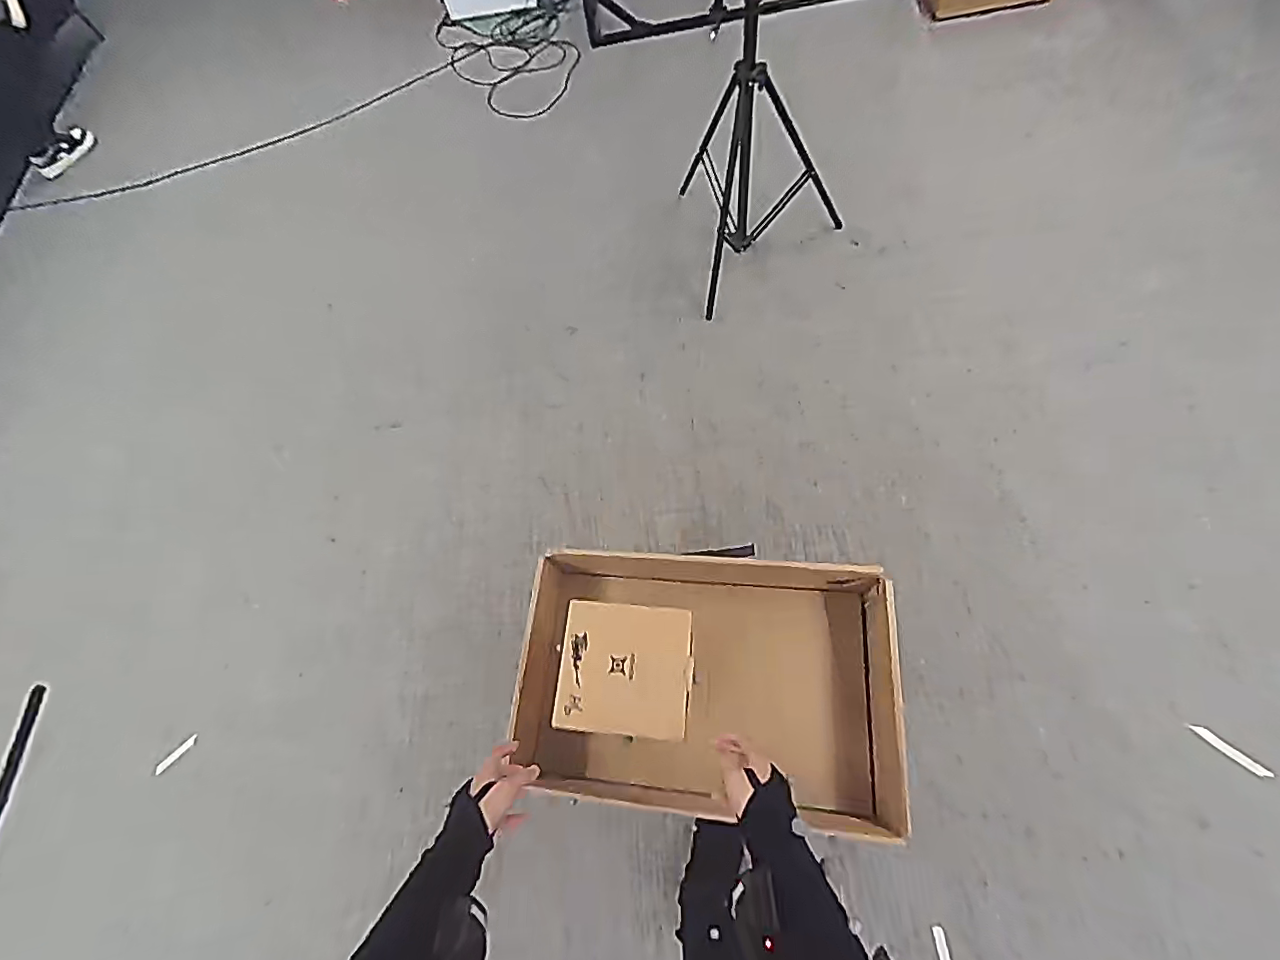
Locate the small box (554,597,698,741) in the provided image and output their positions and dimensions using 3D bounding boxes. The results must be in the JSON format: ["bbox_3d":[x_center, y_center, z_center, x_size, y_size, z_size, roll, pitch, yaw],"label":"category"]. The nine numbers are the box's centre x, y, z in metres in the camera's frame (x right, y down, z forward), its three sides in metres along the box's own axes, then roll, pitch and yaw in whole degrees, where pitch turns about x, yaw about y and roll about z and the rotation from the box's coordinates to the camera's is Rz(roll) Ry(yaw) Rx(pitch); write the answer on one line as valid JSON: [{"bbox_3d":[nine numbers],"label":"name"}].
[{"bbox_3d":[-0.010,0.276,0.788,0.179,0.176,0.168,4,67,8],"label":"small box"}]
